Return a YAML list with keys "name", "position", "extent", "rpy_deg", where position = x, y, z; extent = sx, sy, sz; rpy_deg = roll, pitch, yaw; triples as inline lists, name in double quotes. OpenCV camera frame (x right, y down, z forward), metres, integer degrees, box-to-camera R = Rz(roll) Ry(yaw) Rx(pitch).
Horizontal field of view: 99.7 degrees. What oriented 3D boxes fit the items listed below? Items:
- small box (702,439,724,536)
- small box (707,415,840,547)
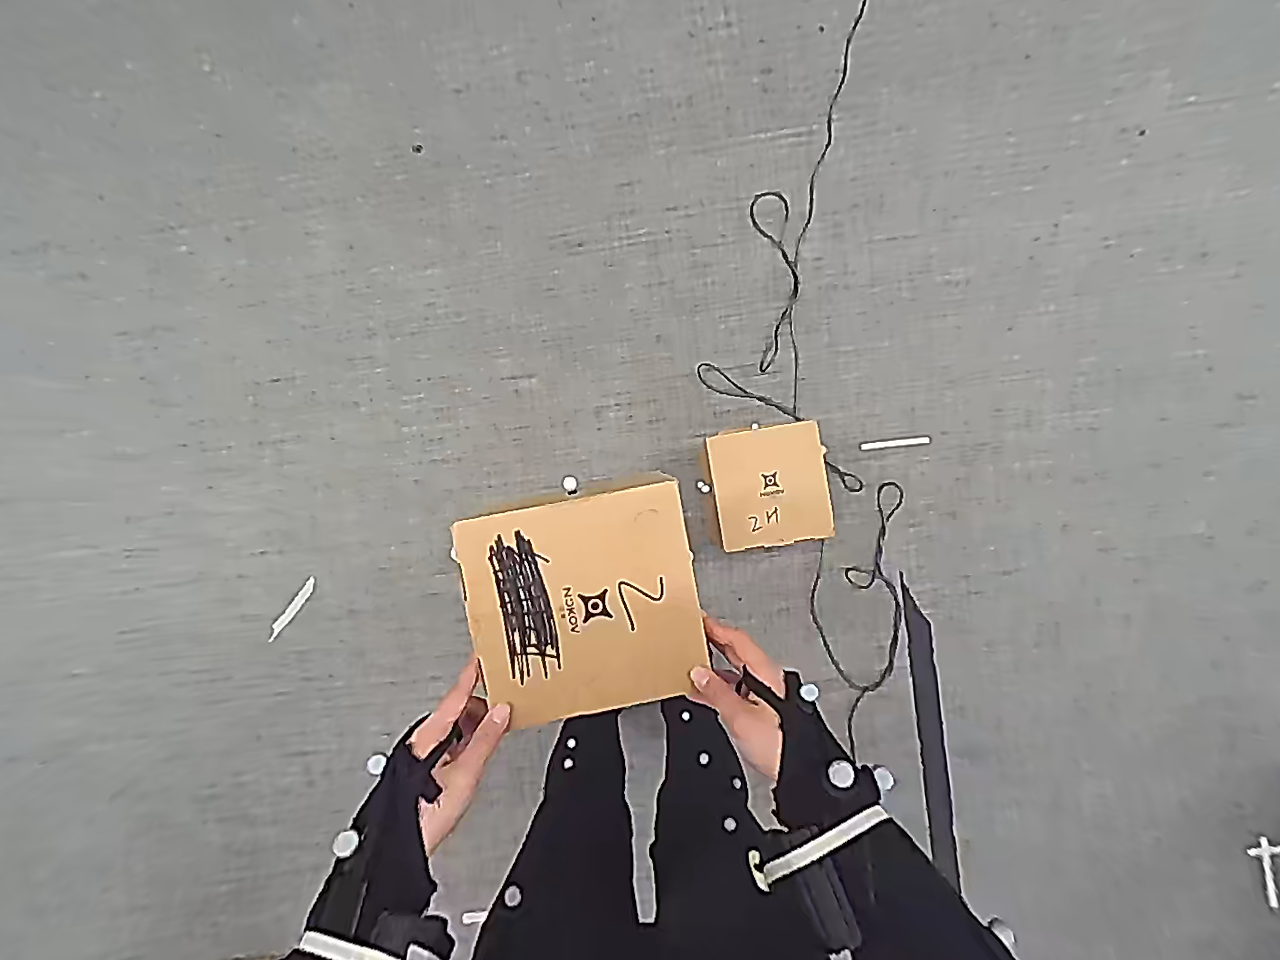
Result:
- name: "small box"
  position: [0.212, 0.006, 1.034]
  extent: [0.168, 0.176, 0.179]
  rpy_deg: [-7, 89, 4]
- name: "small box"
  position: [0.203, 0.004, 0.869]
  extent: [0.168, 0.176, 0.179]
  rpy_deg: [-9, 89, 4]
